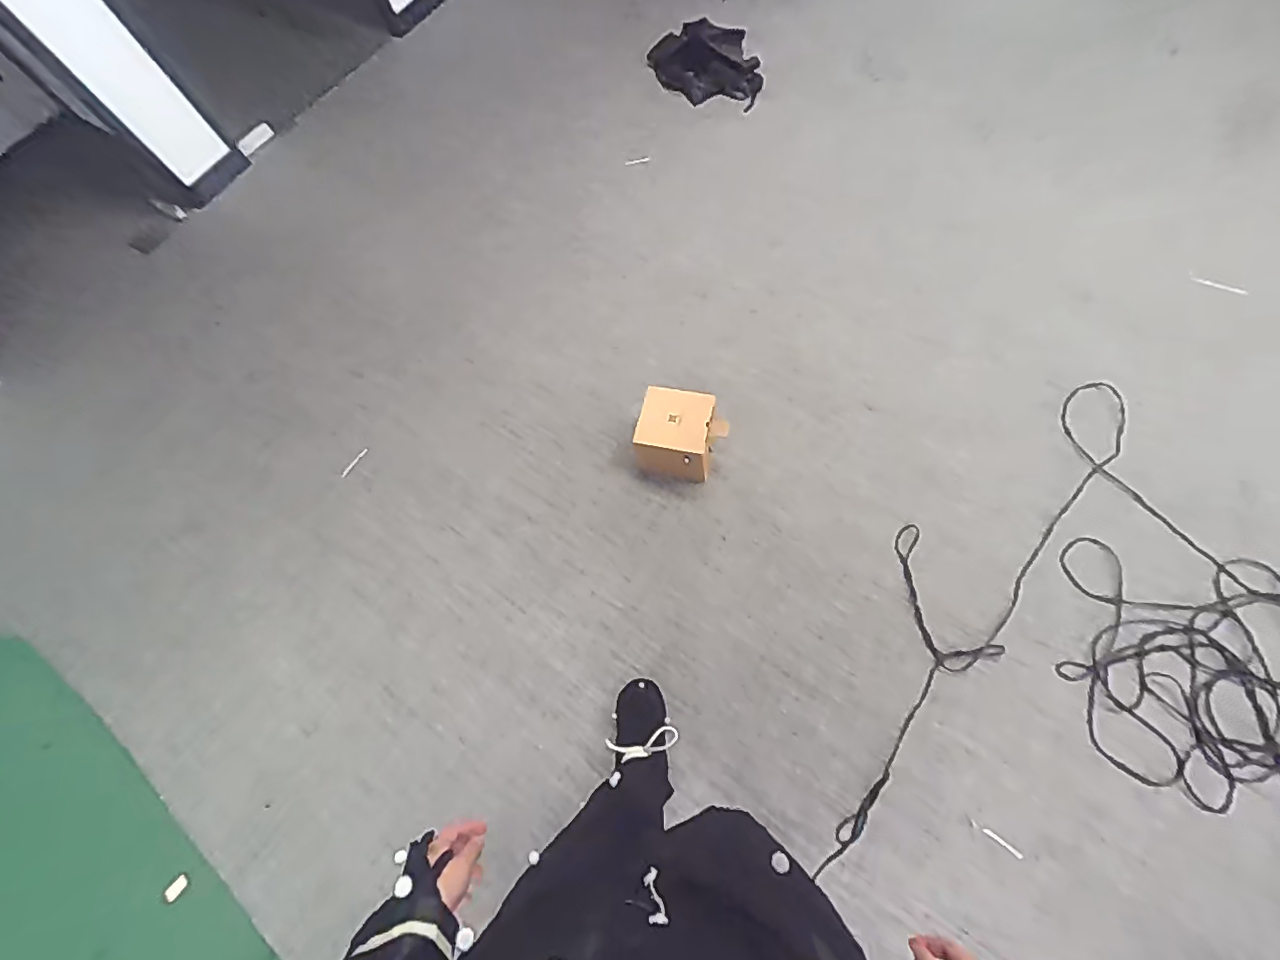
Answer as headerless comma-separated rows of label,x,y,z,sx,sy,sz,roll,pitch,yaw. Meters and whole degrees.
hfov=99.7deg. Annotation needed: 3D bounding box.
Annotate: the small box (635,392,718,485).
small box,0.098,-0.100,1.381,0.179,0.176,0.168,10,68,12
